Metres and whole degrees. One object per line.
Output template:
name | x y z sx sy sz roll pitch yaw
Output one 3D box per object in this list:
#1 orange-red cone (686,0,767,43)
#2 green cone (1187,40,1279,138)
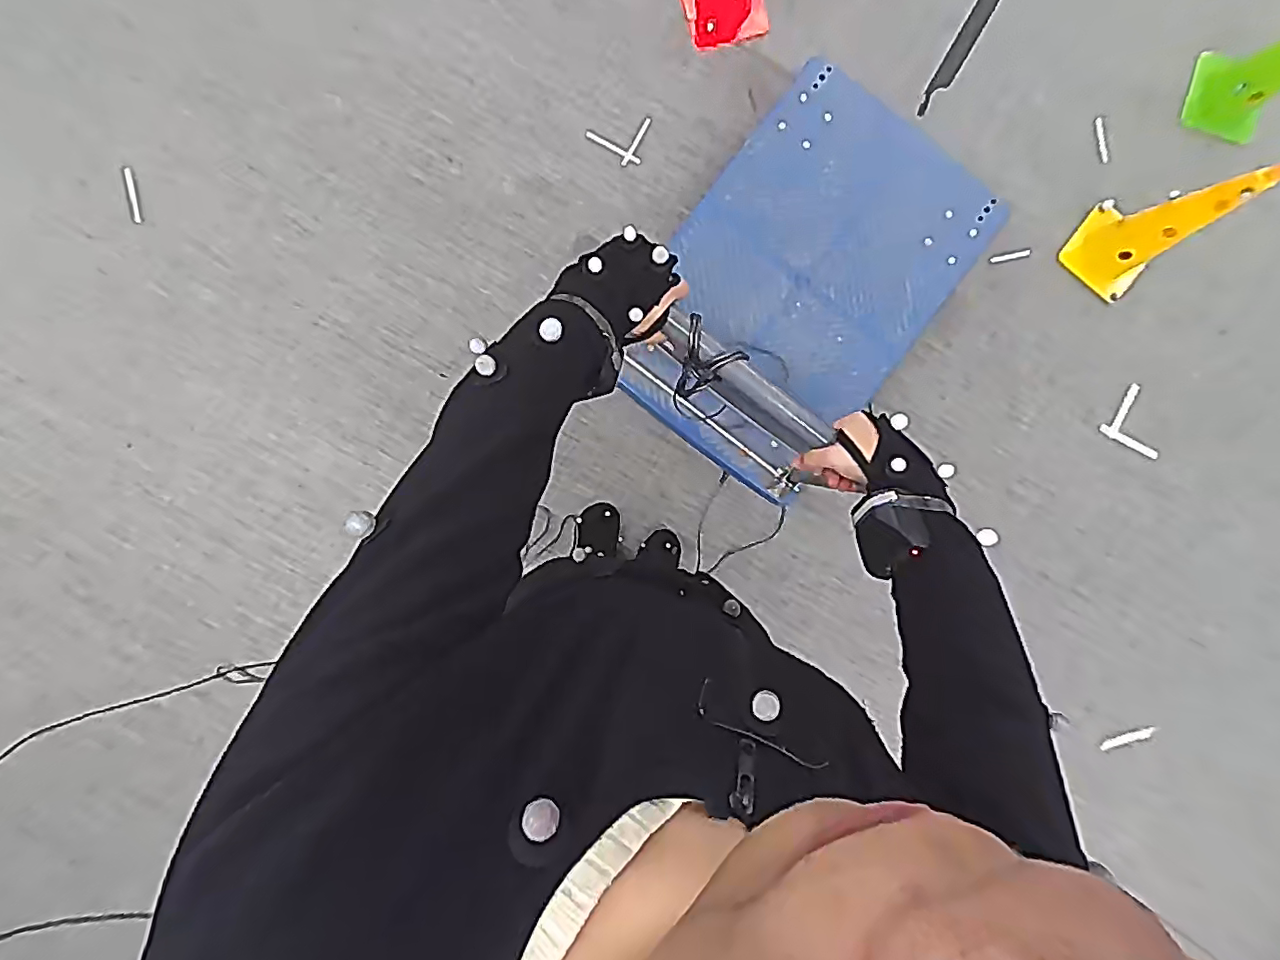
orange-red cone | 0.218 -1.211 1.192 0.199 0.360 0.198 -15 92 -3
green cone | 1.551 -1.011 1.244 0.200 0.368 0.202 16 91 -2
